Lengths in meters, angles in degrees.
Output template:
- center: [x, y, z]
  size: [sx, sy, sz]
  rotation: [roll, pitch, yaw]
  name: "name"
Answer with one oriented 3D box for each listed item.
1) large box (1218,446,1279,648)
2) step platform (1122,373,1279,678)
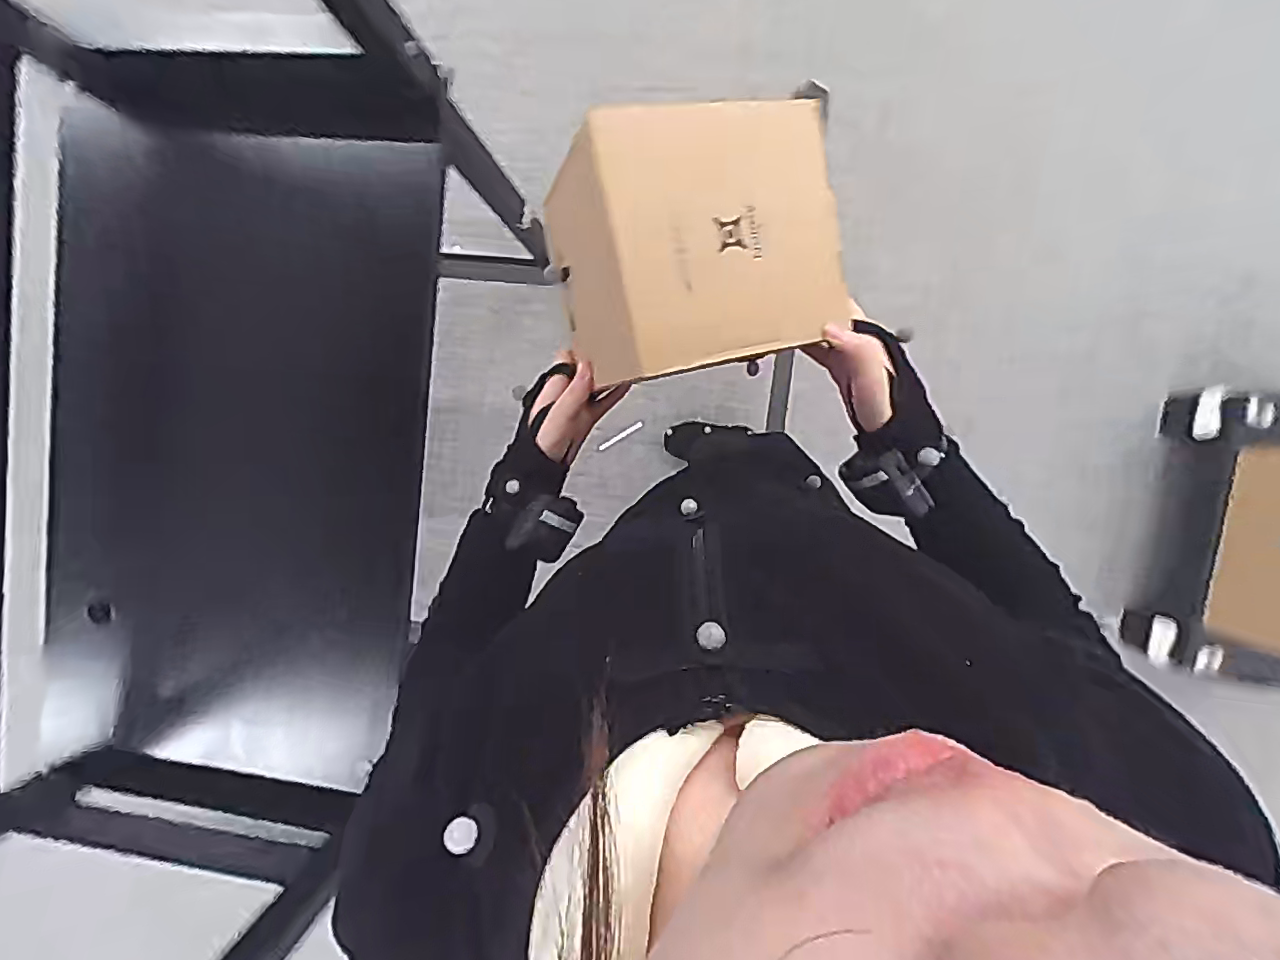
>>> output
- center: [1.419, 0.148, 1.018]
  size: [0.320, 0.320, 0.408]
  rotation: [7, 93, 5]
  name: "large box"
- center: [1.421, 0.101, 1.256]
  size: [0.286, 0.204, 0.684]
  rotation: [12, 94, 5]
  name: "step platform"
